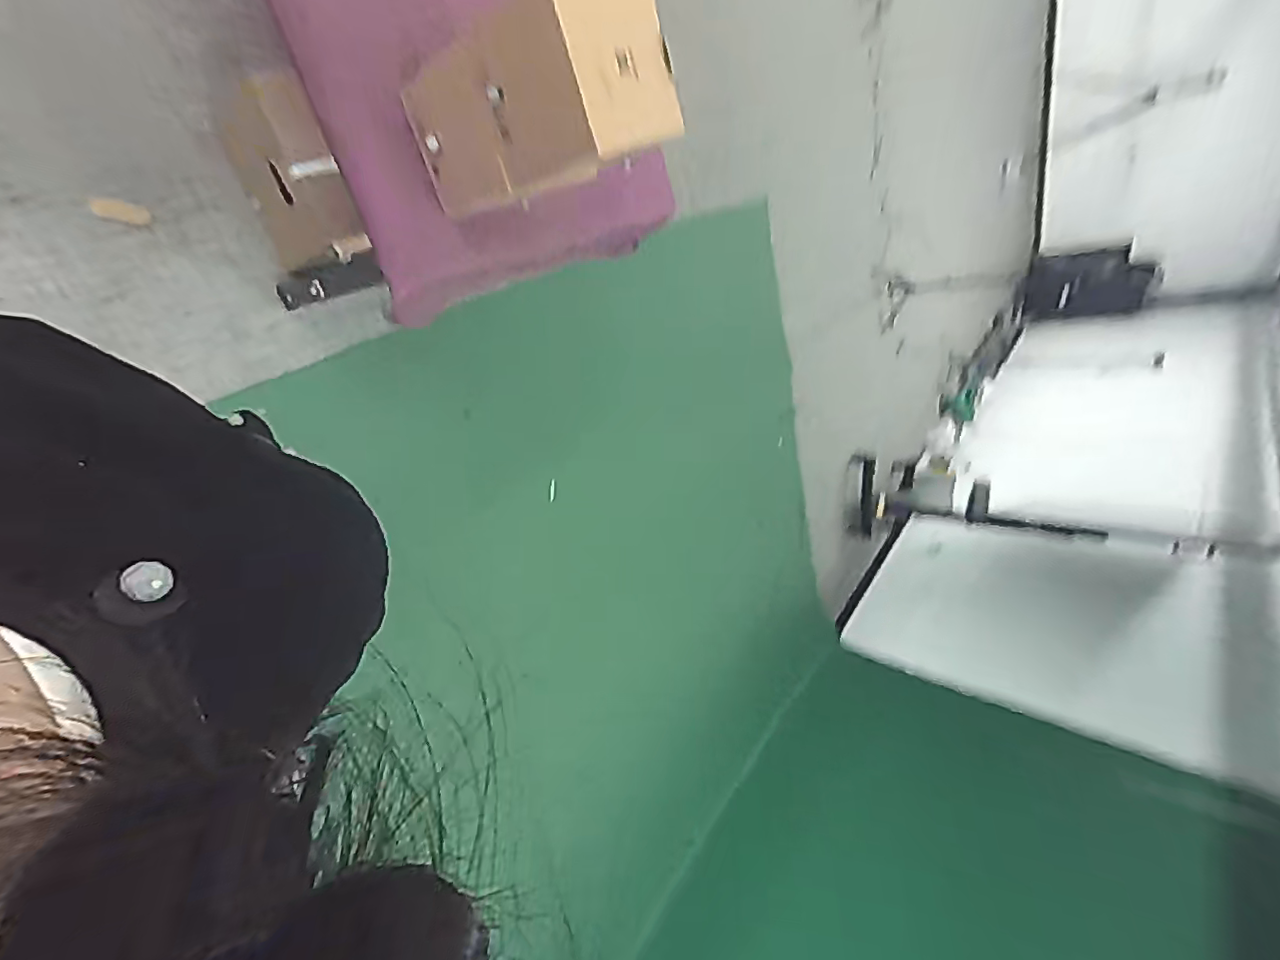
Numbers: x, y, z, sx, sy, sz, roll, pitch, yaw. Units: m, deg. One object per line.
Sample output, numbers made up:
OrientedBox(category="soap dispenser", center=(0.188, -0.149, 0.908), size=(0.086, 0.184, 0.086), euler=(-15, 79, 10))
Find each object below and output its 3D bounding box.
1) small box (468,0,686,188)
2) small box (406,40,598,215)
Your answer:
OrientedBox(category="small box", center=(-0.074, -0.480, 0.664), size=(0.179, 0.176, 0.168), euler=(-40, 124, -37))
OrientedBox(category="small box", center=(-0.194, -0.495, 0.773), size=(0.179, 0.176, 0.168), euler=(-37, 123, -38))
